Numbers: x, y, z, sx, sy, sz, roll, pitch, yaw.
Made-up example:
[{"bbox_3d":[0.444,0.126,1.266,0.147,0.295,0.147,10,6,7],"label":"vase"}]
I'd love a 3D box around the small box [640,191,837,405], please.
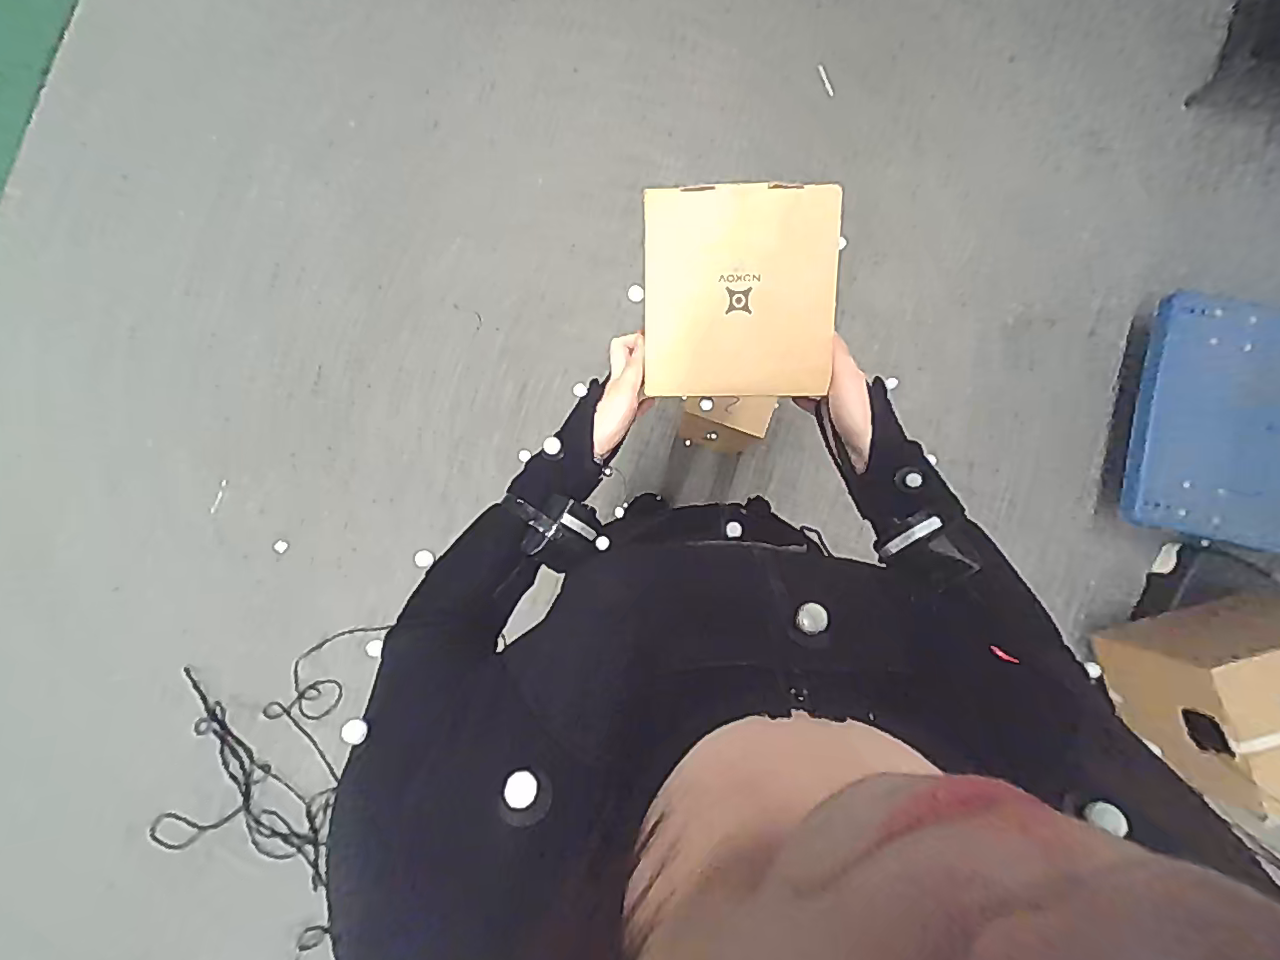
[{"bbox_3d":[0.087,-0.167,0.542,0.168,0.176,0.179,0,99,3],"label":"small box"}]

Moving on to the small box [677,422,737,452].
[{"bbox_3d":[0.205,-0.183,1.442,0.168,0.176,0.179,20,88,3],"label":"small box"}]

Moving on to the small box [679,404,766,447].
[{"bbox_3d":[0.198,-0.184,1.278,0.179,0.176,0.168,20,89,3],"label":"small box"}]
